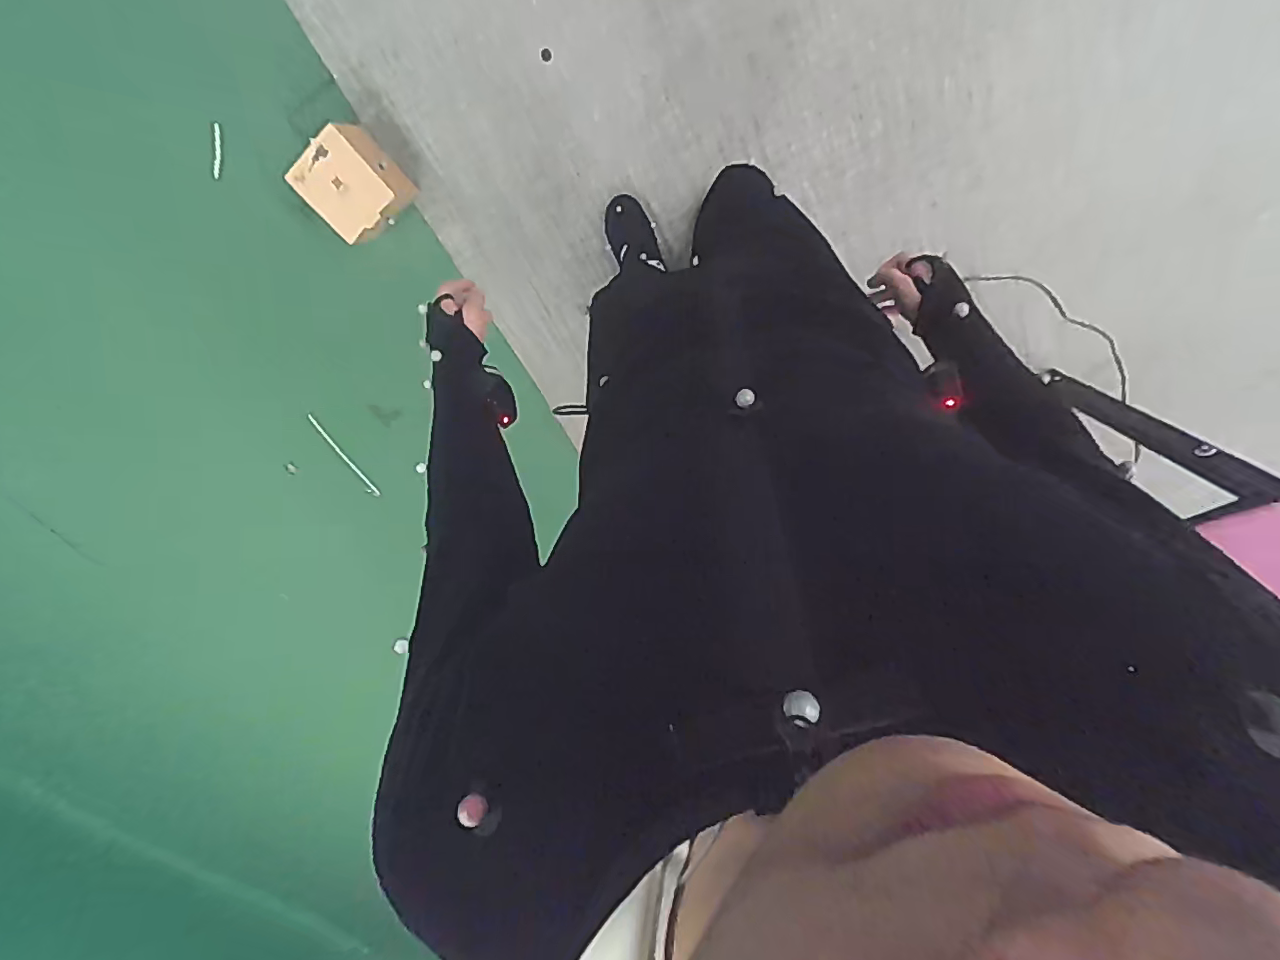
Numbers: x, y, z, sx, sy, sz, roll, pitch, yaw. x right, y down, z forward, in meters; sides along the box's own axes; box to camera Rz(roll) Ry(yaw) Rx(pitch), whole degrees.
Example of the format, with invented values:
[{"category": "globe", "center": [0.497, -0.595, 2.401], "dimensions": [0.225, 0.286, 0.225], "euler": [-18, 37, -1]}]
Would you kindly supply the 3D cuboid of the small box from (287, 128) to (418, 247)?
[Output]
[{"category": "small box", "center": [-0.649, -0.674, 1.246], "dimensions": [0.168, 0.176, 0.179], "euler": [-35, 116, 17]}]
